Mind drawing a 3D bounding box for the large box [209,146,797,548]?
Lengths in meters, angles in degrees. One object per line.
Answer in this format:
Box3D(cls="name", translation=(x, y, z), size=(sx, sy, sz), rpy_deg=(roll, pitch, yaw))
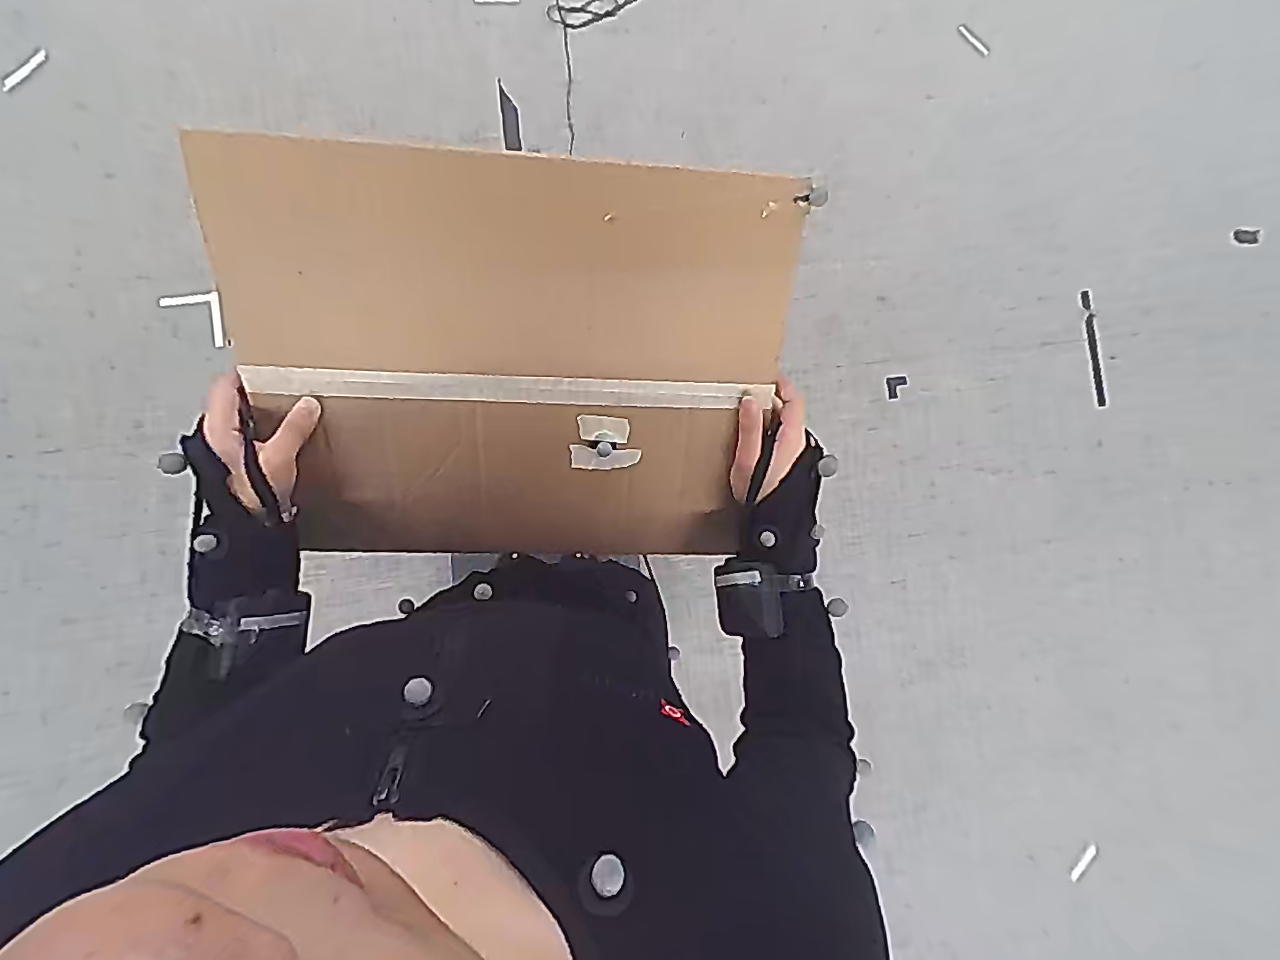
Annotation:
Box3D(cls="large box", translation=(-0.106, -0.145, 0.566), size=(0.408, 0.320, 0.320), rpy_deg=(0, 118, -7))
